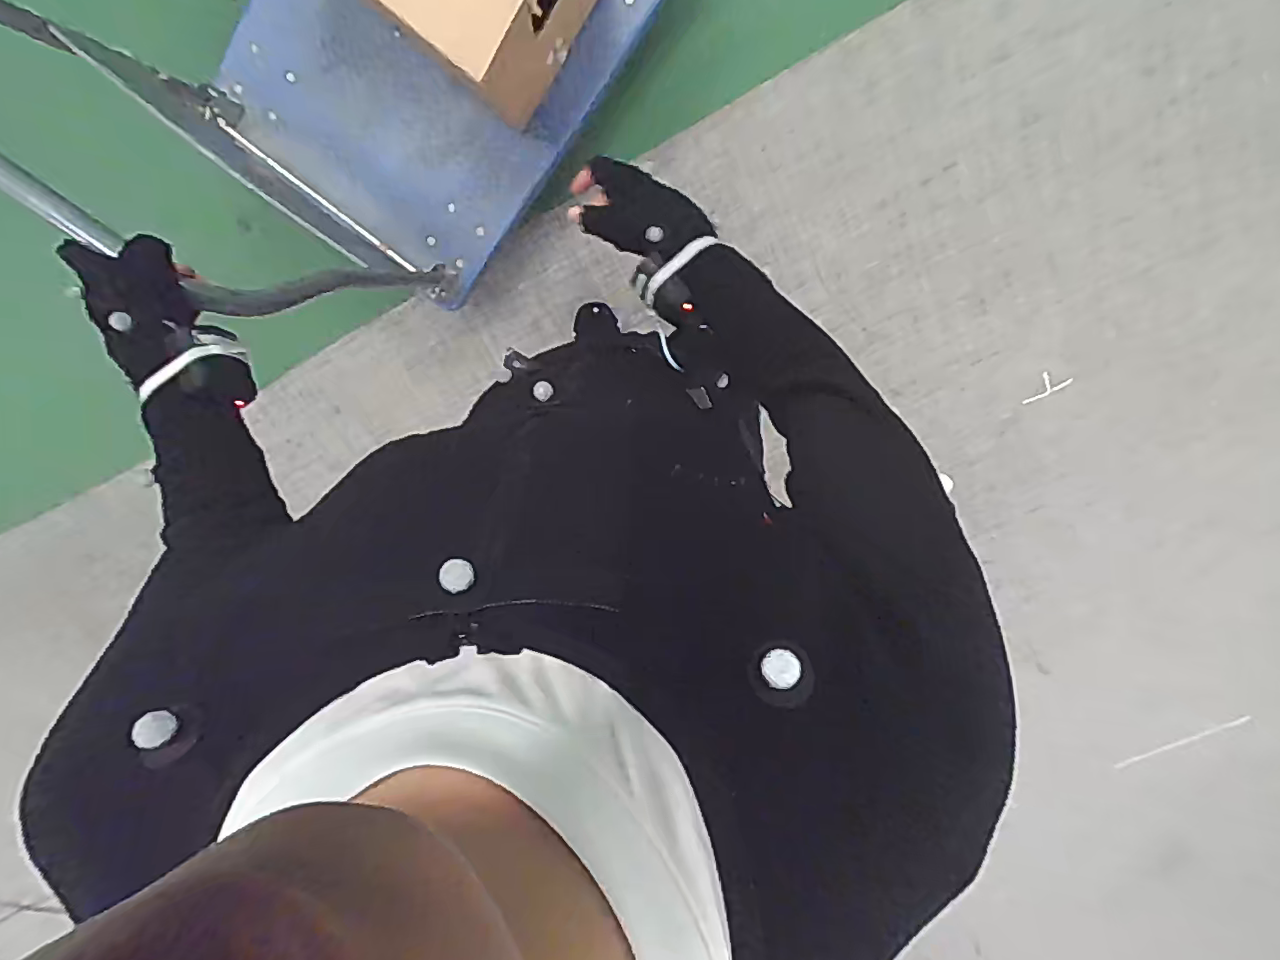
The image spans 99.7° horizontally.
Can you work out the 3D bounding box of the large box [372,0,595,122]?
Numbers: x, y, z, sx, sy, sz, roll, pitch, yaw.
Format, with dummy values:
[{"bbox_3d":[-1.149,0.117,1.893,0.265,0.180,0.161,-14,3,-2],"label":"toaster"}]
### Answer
[{"bbox_3d":[-0.293,-0.859,0.833,0.408,0.320,0.320,35,107,-13],"label":"large box"}]
